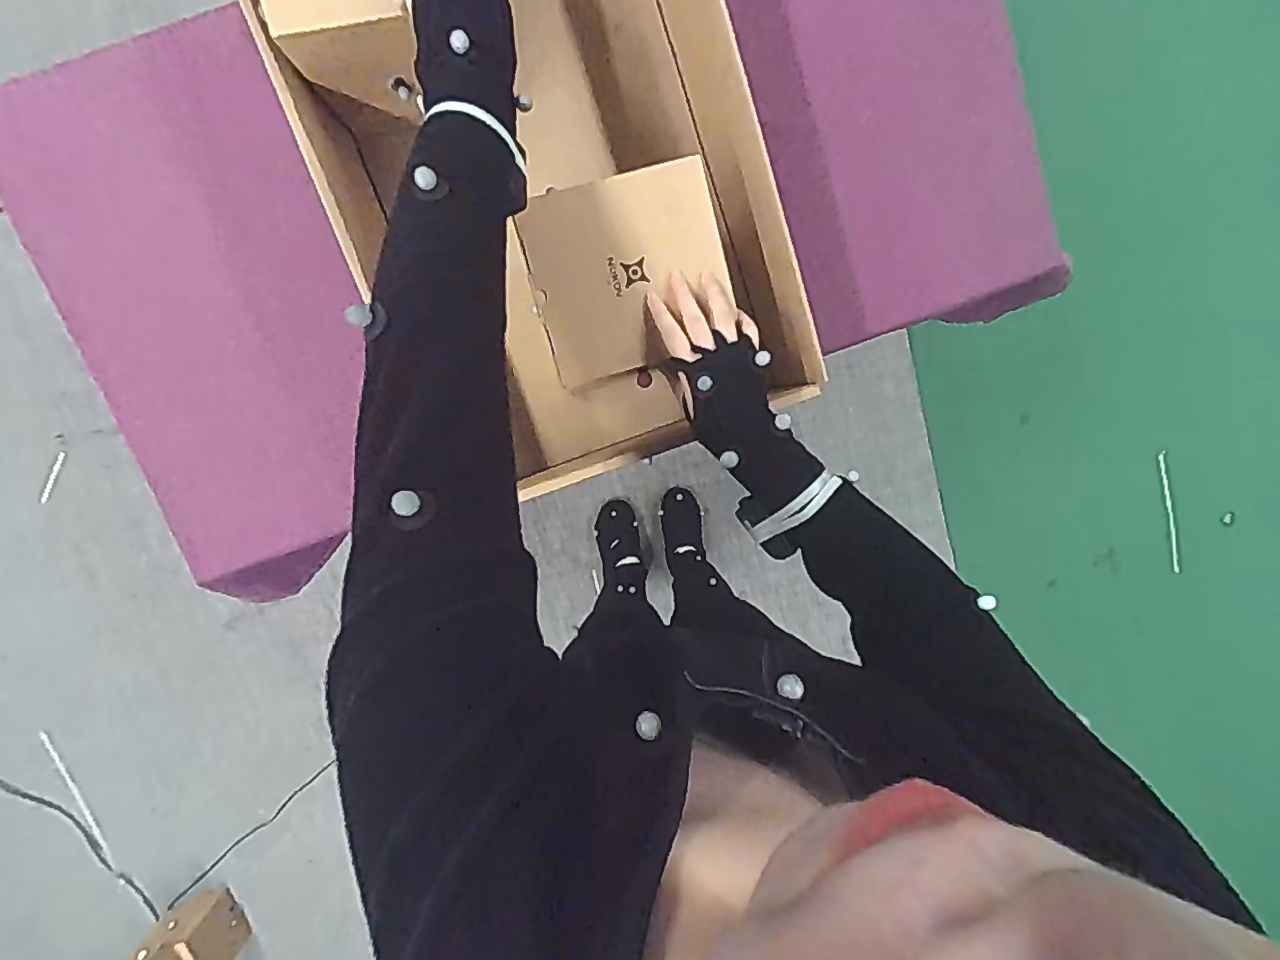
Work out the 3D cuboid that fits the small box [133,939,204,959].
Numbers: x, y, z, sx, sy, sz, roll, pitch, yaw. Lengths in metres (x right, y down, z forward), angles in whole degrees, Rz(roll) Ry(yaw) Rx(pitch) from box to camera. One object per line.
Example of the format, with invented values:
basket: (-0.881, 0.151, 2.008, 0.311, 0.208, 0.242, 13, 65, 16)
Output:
small box: (-1.209, 1.288, 1.331, 0.168, 0.176, 0.179, -30, 99, 2)
